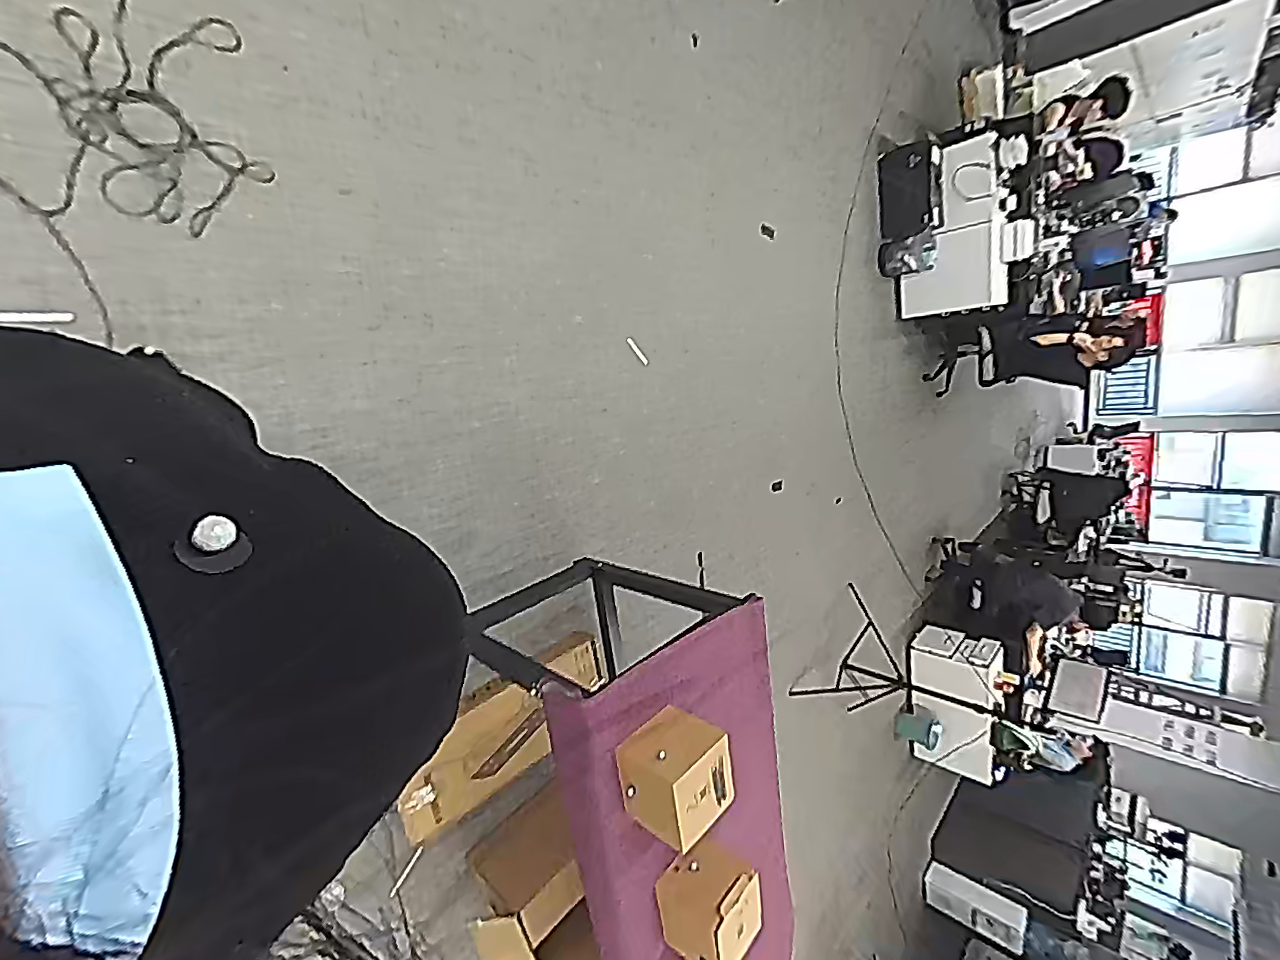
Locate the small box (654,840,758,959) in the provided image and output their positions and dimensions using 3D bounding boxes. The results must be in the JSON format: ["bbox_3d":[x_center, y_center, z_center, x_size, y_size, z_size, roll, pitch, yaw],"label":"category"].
[{"bbox_3d":[0.153,0.994,1.256,0.168,0.176,0.179,-22,108,-45],"label":"small box"}]
